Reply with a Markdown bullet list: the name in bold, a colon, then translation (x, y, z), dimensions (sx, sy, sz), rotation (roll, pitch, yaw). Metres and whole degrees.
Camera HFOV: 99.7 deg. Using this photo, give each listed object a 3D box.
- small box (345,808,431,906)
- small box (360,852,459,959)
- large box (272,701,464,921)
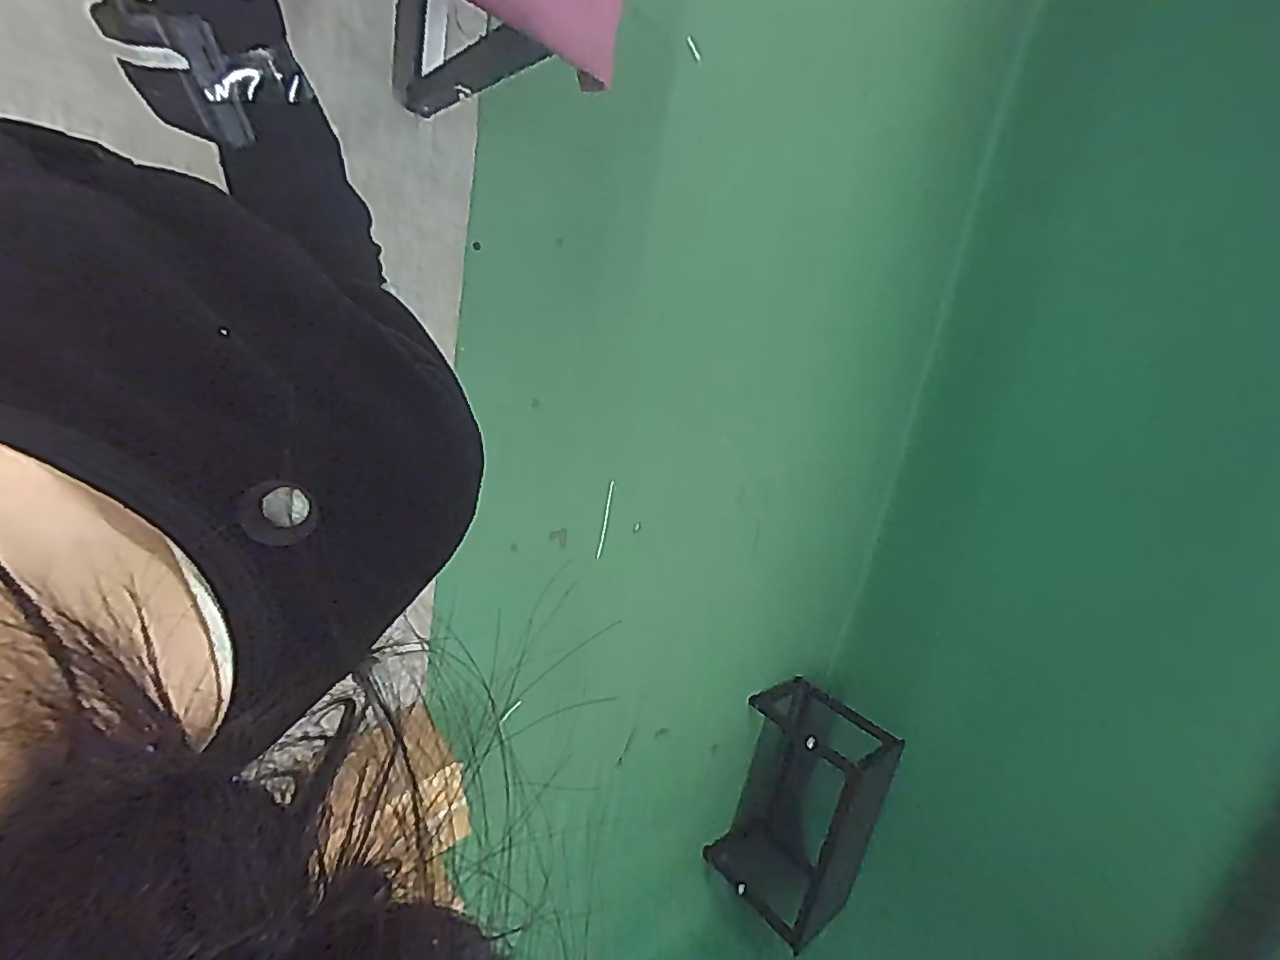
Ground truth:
- **small box**: translation (-0.661, 1.007, 1.422), dimensions (0.168, 0.176, 0.179), rotation (-13, 115, -39)
- **small box**: translation (-0.557, 1.061, 1.309), dimensions (0.179, 0.176, 0.168), rotation (-11, 114, -40)
- **large box**: translation (-0.803, 0.958, 1.620), dimensions (0.408, 0.320, 0.320), rotation (-20, 121, -38)
